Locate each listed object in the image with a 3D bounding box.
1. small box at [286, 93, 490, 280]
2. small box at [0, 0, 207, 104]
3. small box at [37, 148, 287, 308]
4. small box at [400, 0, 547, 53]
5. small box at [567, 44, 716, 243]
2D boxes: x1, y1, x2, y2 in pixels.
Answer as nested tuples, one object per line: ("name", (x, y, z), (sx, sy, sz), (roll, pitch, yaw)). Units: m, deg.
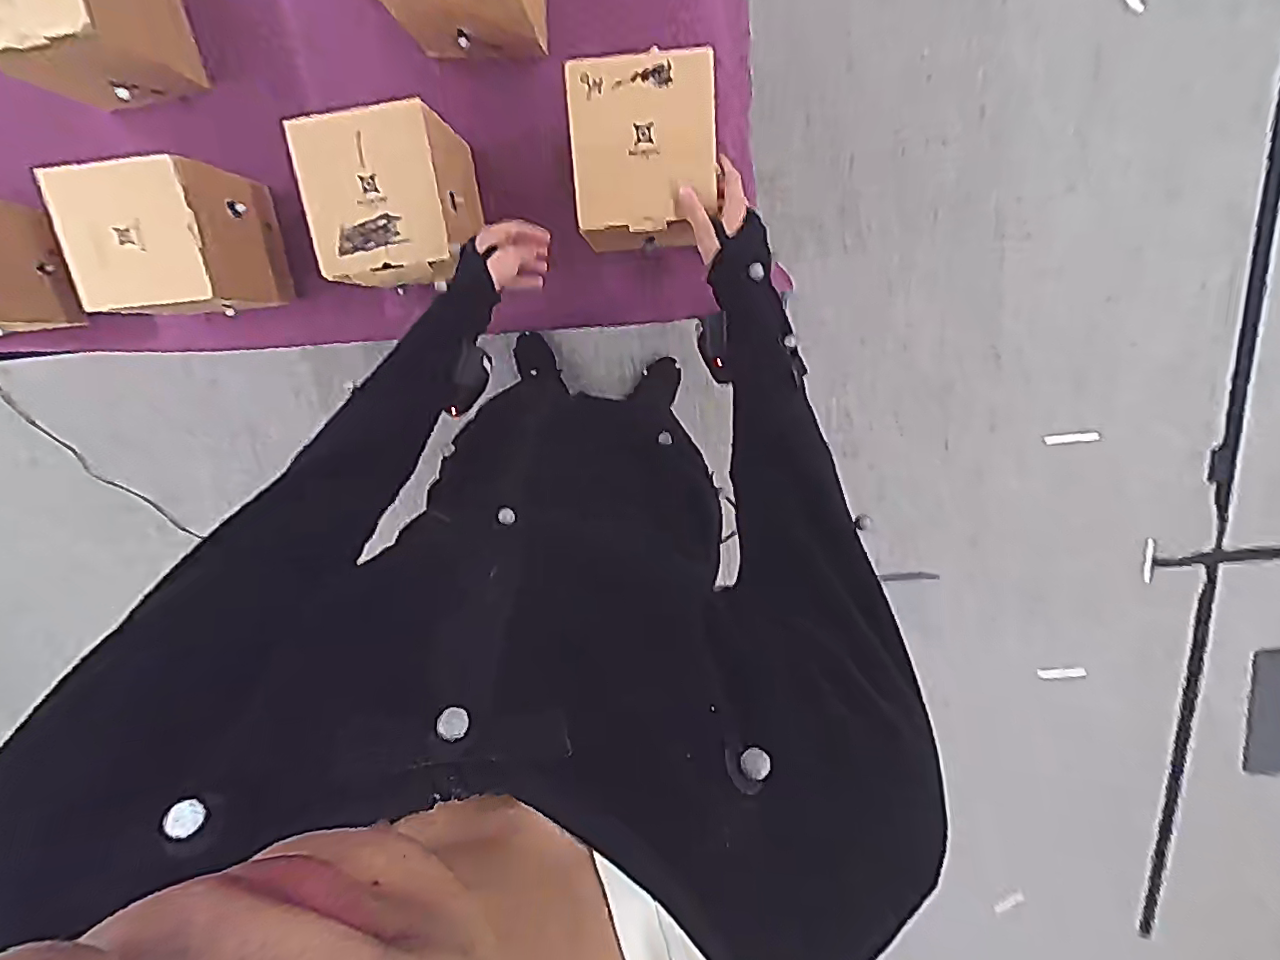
("small box", (-0.311, -0.365, 0.710), (0.168, 0.176, 0.179), (-6, 104, 4))
("small box", (-0.693, -0.602, 0.660), (0.168, 0.176, 0.179), (-8, 106, 4))
("small box", (-0.618, -0.327, 0.732), (0.179, 0.176, 0.168), (-5, 105, 2))
("small box", (-0.207, -0.643, 0.633), (0.168, 0.176, 0.179), (1, 107, 2))
("small box", (0.008, -0.406, 0.686), (0.168, 0.176, 0.179), (-2, 104, 3))
